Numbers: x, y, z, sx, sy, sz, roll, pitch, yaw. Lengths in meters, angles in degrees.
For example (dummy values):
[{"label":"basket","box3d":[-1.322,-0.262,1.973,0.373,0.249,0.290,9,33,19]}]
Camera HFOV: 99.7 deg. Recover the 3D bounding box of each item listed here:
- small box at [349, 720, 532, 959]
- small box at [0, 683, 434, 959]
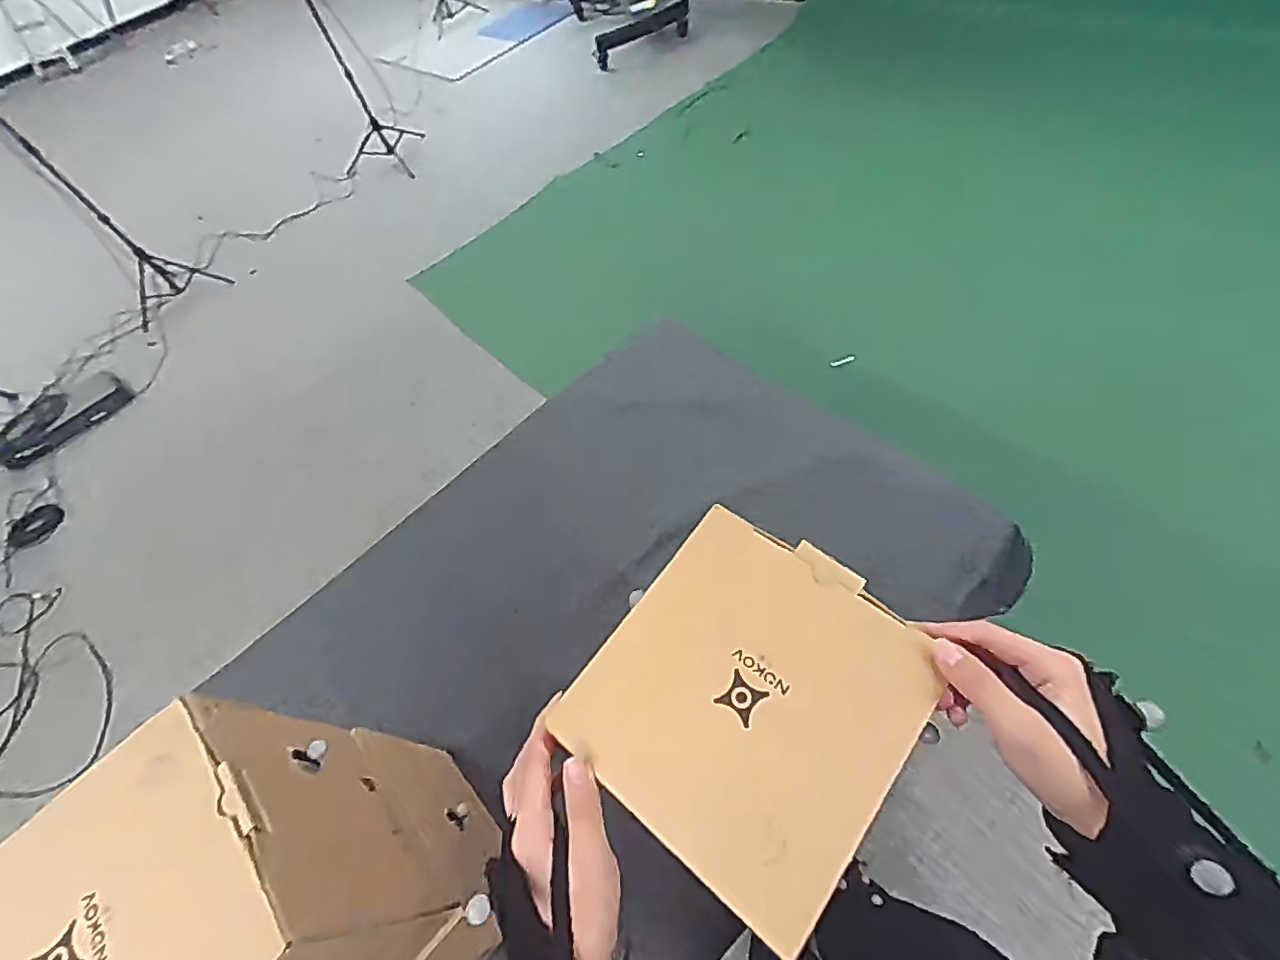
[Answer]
[{"label":"small box","box3d":[-0.224,0.346,0.464,0.168,0.176,0.179,-43,59,-16]},{"label":"small box","box3d":[-0.255,0.262,0.329,0.168,0.176,0.179,35,71,30]}]
